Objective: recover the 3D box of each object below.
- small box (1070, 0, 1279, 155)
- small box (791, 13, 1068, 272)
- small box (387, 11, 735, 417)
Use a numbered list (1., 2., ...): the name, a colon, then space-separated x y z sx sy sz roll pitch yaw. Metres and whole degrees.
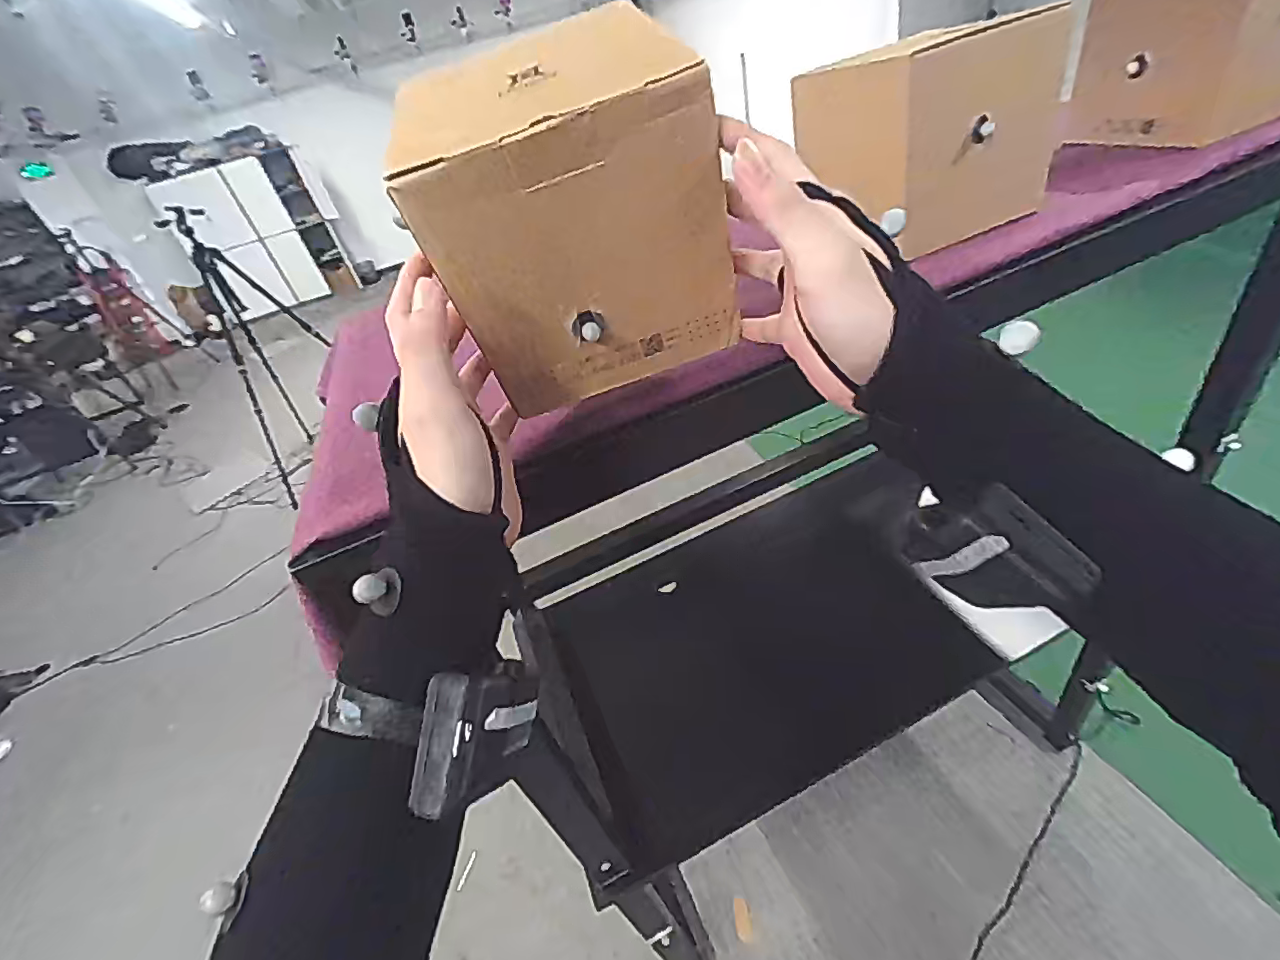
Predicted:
1. small box: 0.633 -0.485 0.609 0.179 0.176 0.168 -22 37 -5
2. small box: 0.277 -0.335 0.553 0.179 0.176 0.168 -24 35 -9
3. small box: -0.044 -0.175 0.371 0.168 0.176 0.179 -19 51 2
